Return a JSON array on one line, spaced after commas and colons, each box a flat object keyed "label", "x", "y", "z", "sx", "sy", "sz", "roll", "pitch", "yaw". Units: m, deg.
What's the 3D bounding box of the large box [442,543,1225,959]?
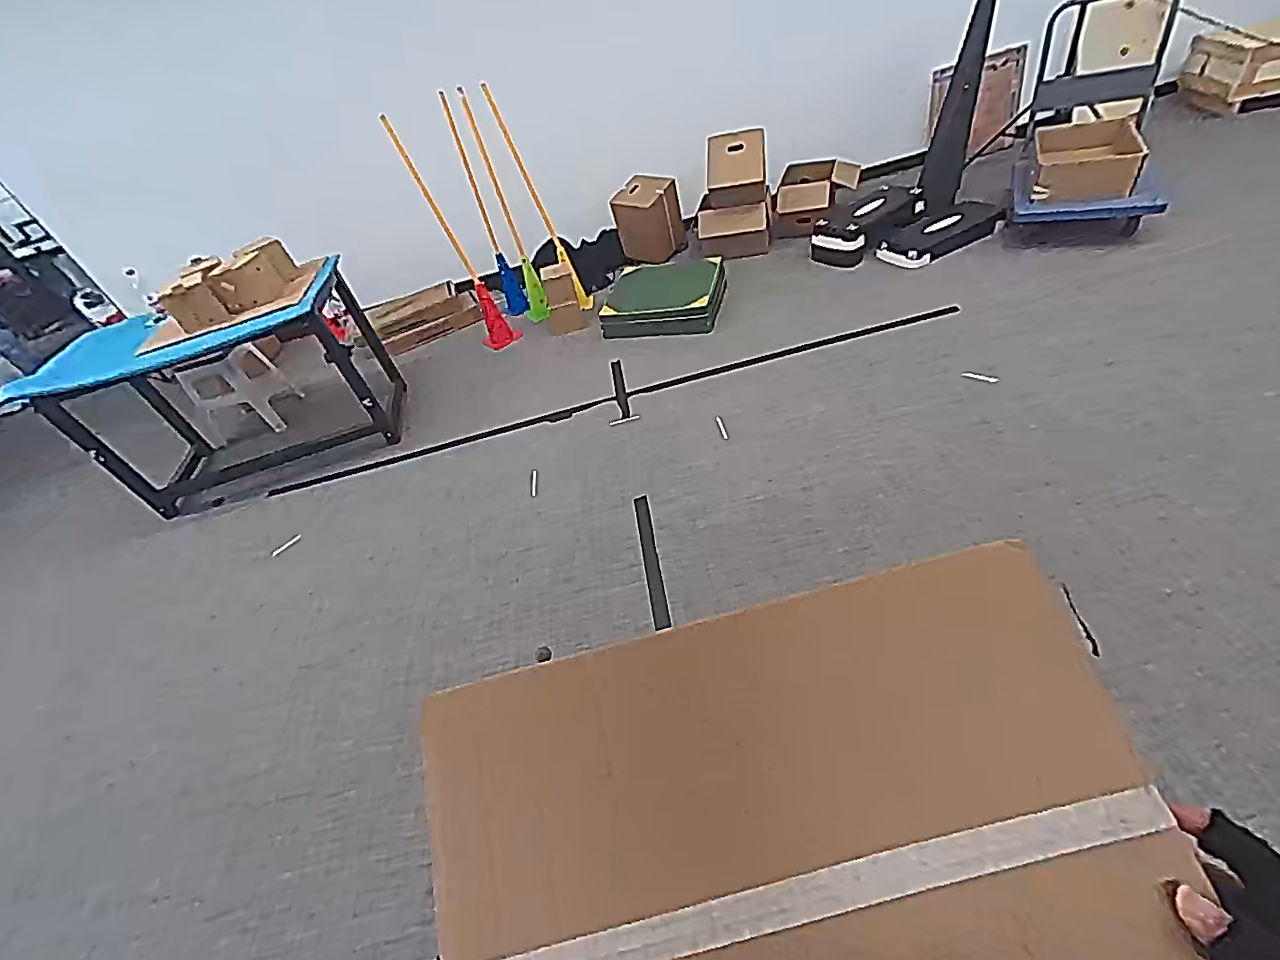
[{"label": "large box", "x": 0.107, "y": 0.285, "z": 0.447, "sx": 0.408, "sy": 0.320, "sz": 0.320, "roll": -15, "pitch": 69, "yaw": 1}]
